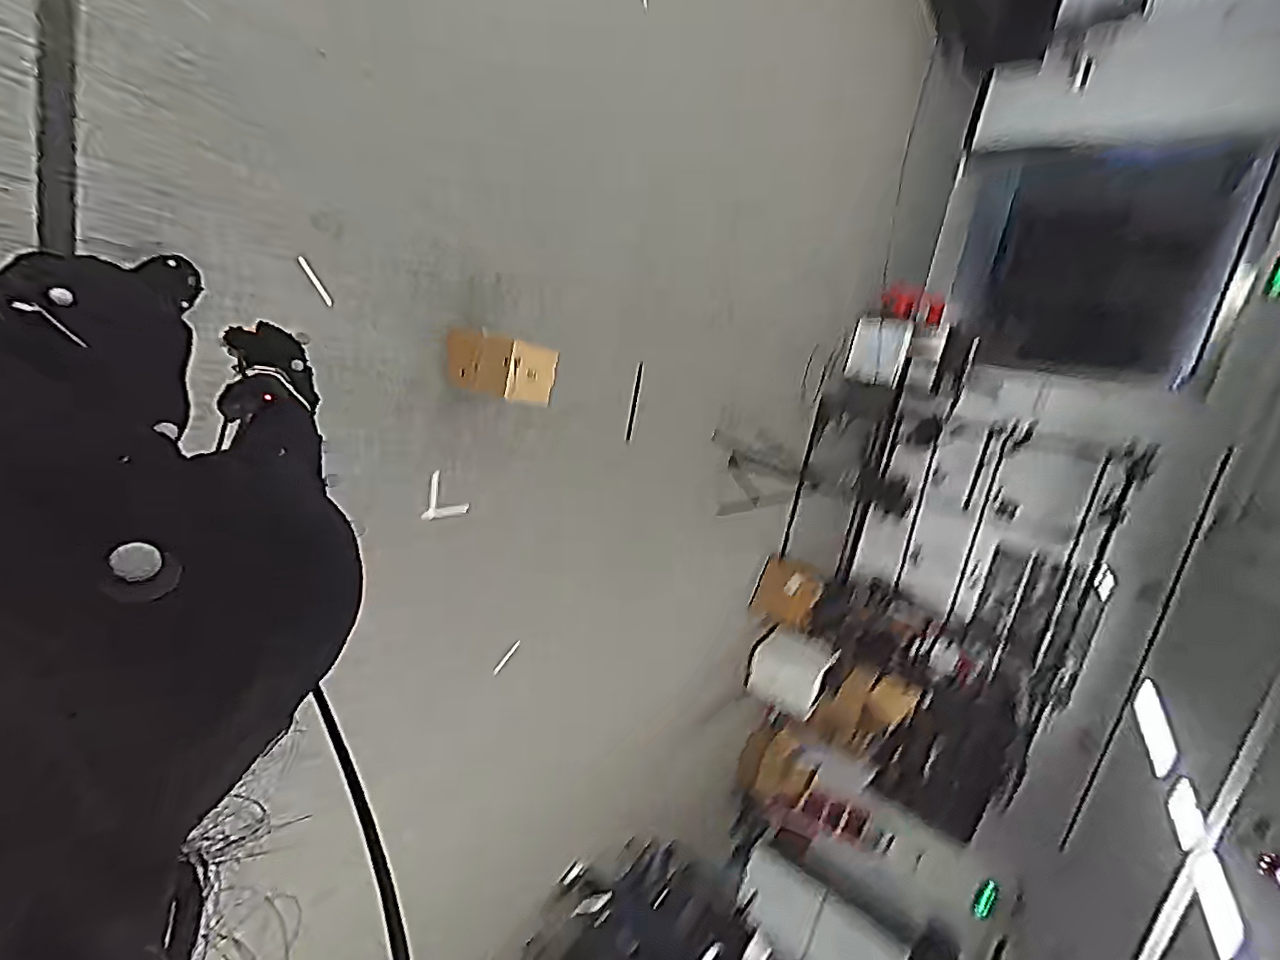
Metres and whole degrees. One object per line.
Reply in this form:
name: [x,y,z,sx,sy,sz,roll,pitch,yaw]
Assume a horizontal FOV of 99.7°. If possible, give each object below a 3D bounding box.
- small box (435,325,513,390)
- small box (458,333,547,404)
small box: [-0.528,-0.383,1.708,0.168,0.176,0.179,-10,113,-54]
small box: [-0.409,-0.331,1.607,0.179,0.176,0.168,1,105,-56]
